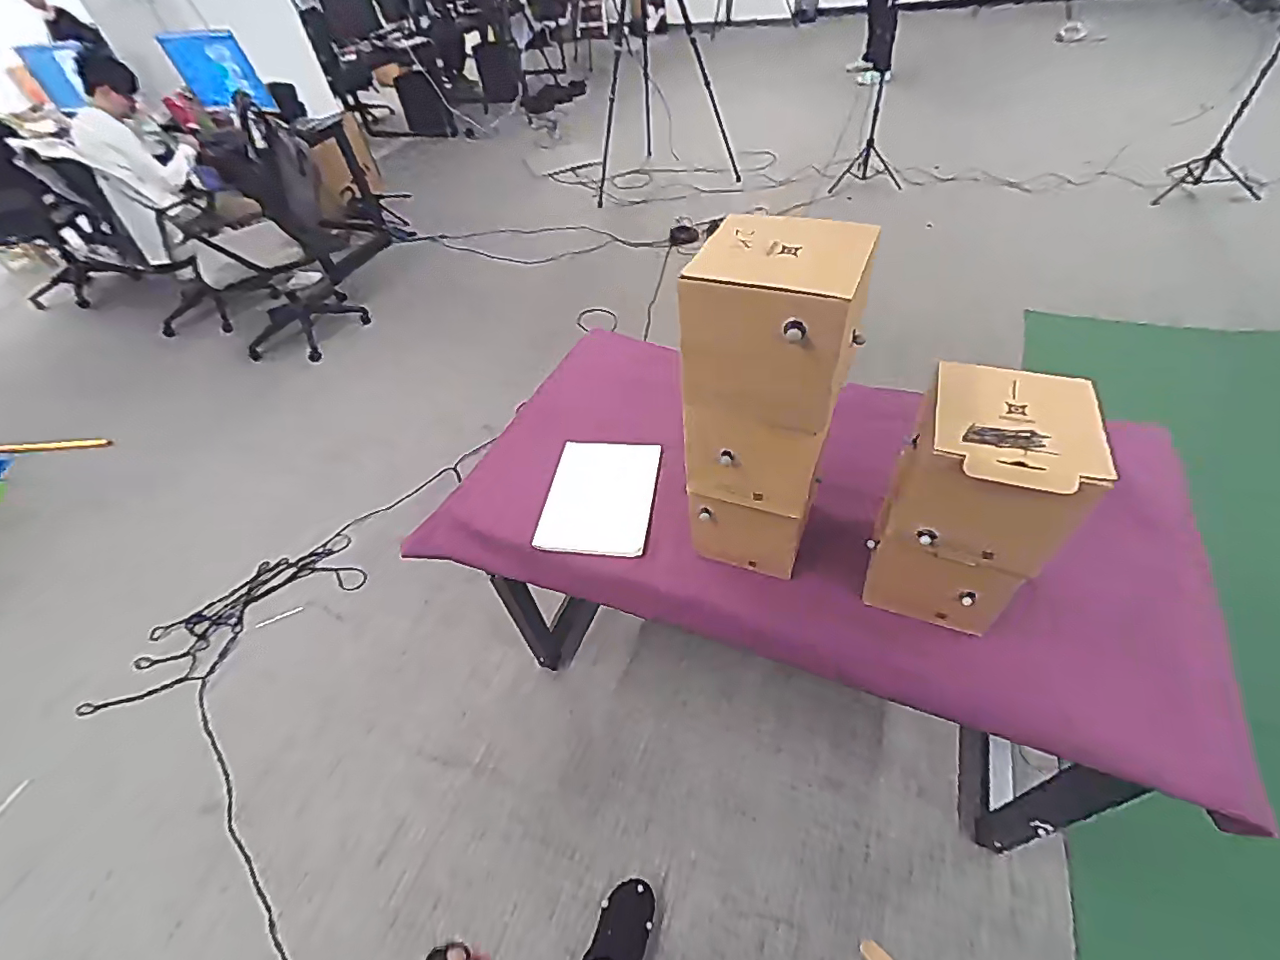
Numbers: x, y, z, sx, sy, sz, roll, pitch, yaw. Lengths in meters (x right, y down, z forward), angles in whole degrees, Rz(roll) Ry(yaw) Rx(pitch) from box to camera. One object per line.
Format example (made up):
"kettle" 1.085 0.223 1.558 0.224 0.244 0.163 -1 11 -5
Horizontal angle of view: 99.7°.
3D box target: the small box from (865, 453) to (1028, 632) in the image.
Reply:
"small box" 0.437 0.092 0.786 0.168 0.176 0.179 15 50 19

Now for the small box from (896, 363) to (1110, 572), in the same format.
"small box" 0.425 -0.015 0.663 0.168 0.176 0.179 14 50 18

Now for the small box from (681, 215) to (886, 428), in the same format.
"small box" 0.161 -0.182 0.625 0.179 0.176 0.168 16 50 21

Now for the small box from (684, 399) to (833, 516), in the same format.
"small box" 0.171 -0.076 0.752 0.168 0.176 0.179 14 50 20
